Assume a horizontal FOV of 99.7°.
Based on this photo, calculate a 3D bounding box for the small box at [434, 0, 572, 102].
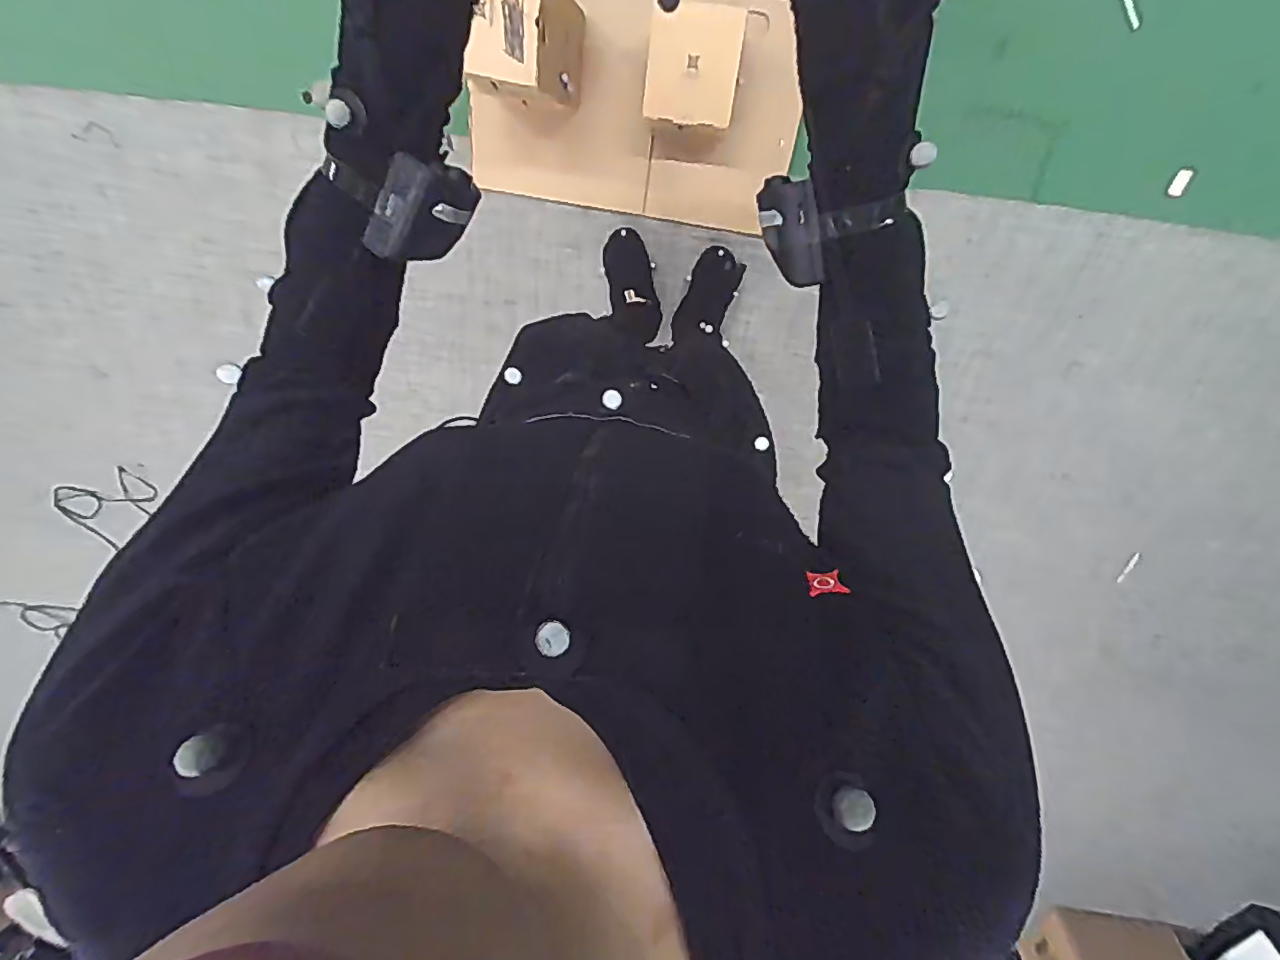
[{"bbox_3d":[-0.219,-0.740,0.888,0.179,0.176,0.168,13,120,2],"label":"small box"}]

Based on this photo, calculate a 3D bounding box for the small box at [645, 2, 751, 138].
[{"bbox_3d":[0.106,-0.767,1.029,0.168,0.176,0.179,8,121,2],"label":"small box"}]

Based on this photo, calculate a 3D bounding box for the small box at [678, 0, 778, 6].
[{"bbox_3d":[0.024,-0.386,0.289,0.168,0.176,0.179,6,125,5],"label":"small box"}]
